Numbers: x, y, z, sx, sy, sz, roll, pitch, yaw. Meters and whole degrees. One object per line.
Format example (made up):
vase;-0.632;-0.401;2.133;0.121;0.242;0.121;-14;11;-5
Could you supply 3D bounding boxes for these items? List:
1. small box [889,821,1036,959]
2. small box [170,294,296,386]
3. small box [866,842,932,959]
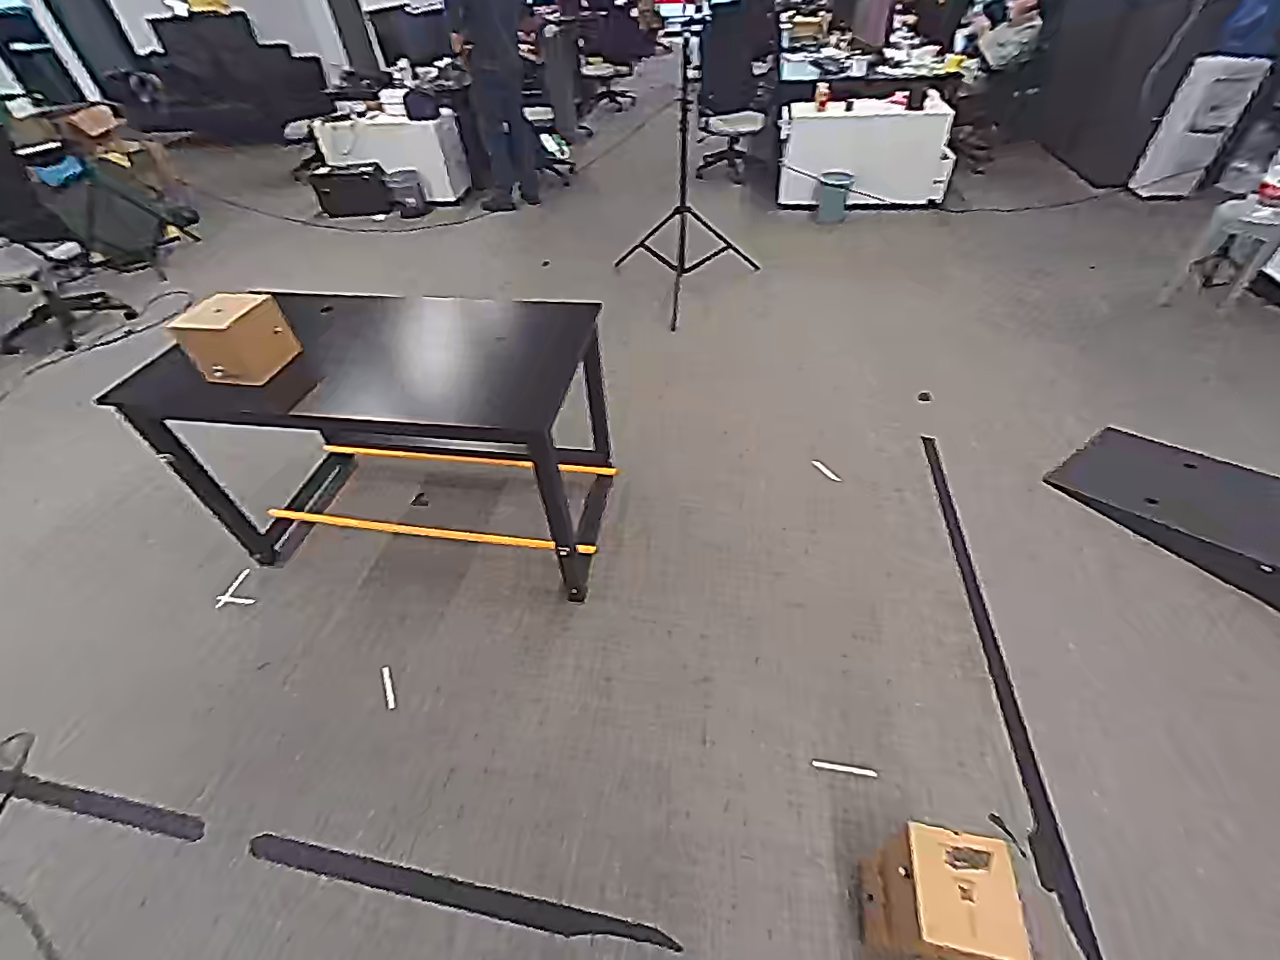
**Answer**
small box;0.561;0.748;0.970;0.168;0.176;0.179;6;47;10
small box;-1.039;-0.365;1.405;0.168;0.176;0.179;4;46;9
small box;0.563;0.863;1.090;0.179;0.176;0.168;6;46;11
